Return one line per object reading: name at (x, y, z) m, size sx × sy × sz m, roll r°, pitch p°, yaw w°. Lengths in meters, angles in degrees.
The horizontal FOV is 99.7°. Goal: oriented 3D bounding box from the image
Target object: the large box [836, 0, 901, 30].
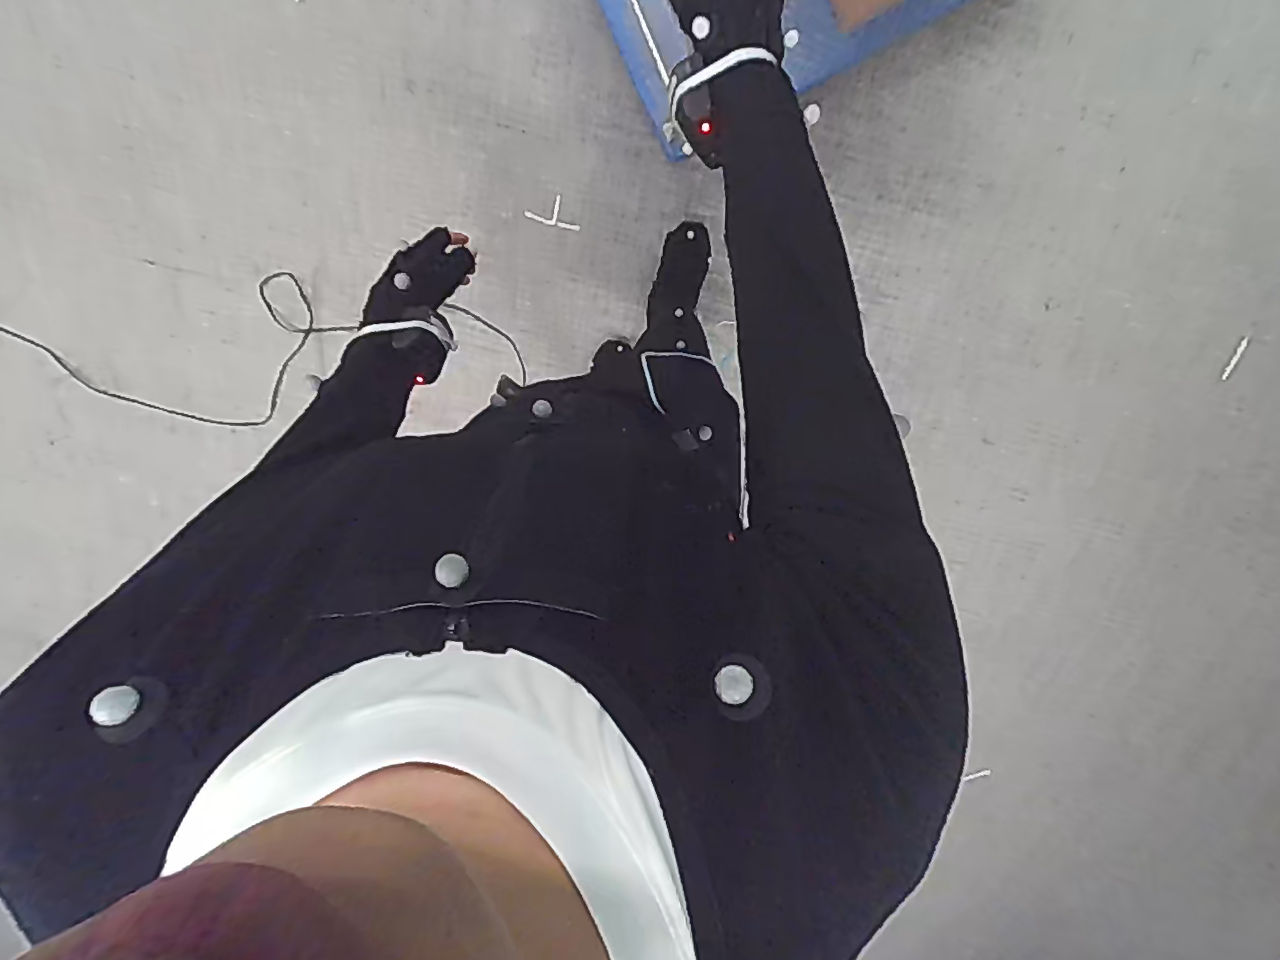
large box at (0.429, -1.039, 0.815) m, size 0.320 × 0.320 × 0.408 m, roll -26°, pitch 104°, yaw 9°
